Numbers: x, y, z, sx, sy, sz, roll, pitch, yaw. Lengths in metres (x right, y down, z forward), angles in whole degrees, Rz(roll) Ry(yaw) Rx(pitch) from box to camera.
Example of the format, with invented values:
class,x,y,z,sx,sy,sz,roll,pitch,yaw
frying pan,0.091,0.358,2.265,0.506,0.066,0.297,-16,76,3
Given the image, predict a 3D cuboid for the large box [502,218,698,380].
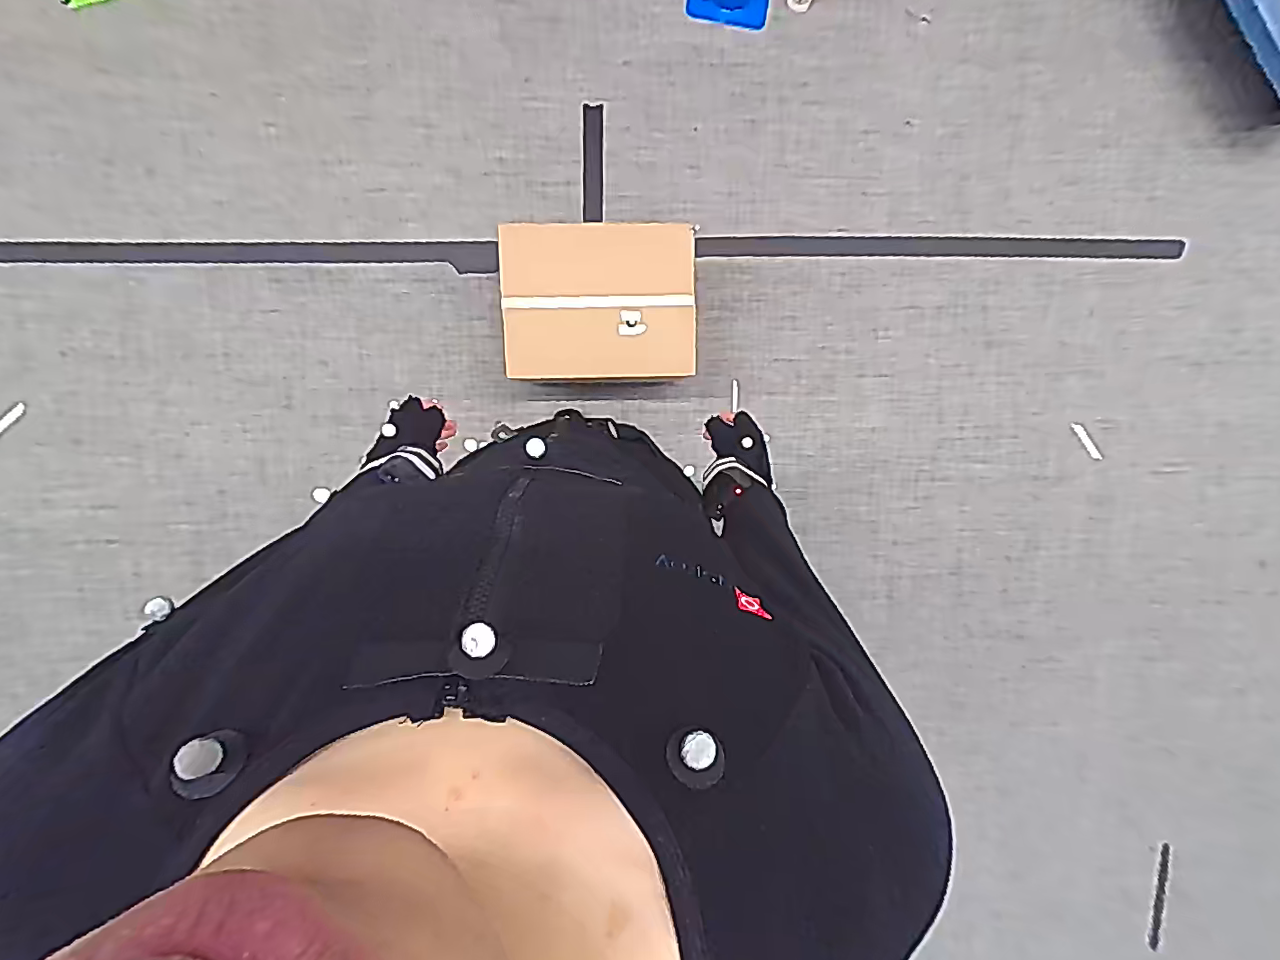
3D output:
class,x,y,z,sx,sy,sz,roll,pitch,yaw
large box,-0.091,-0.405,1.279,0.408,0.320,0.320,-2,99,-4
